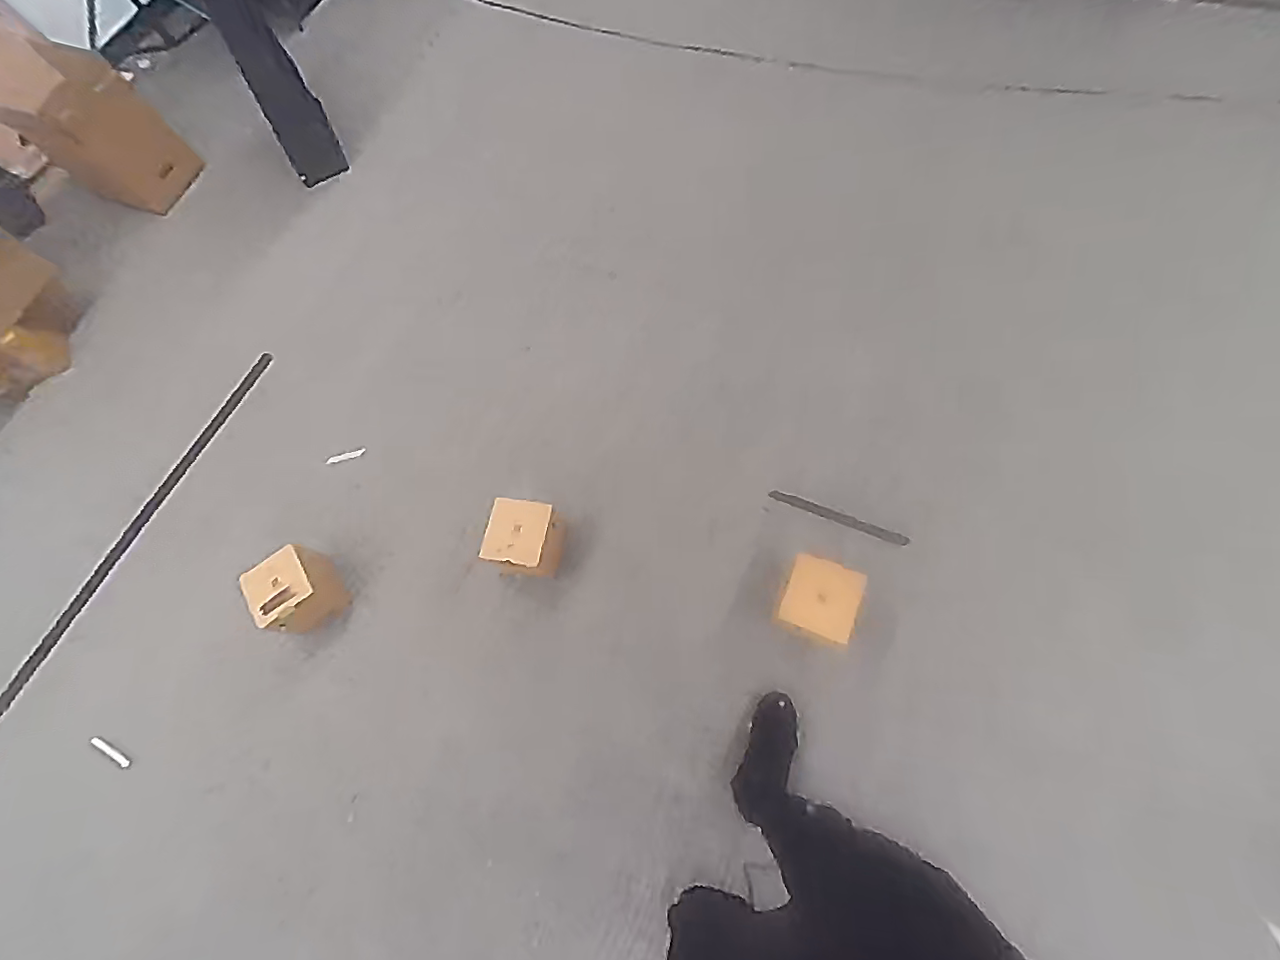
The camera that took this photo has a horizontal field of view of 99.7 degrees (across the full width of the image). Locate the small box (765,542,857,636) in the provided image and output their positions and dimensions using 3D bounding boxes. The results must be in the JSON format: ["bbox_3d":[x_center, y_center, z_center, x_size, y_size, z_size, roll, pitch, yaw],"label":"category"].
[{"bbox_3d":[0.423,0.282,1.367,0.168,0.176,0.179,21,73,13],"label":"small box"}]

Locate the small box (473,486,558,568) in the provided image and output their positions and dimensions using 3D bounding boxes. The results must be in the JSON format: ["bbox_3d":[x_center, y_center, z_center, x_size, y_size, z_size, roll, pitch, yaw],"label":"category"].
[{"bbox_3d":[-0.337,0.134,1.505,0.168,0.176,0.179,8,72,9],"label":"small box"}]
